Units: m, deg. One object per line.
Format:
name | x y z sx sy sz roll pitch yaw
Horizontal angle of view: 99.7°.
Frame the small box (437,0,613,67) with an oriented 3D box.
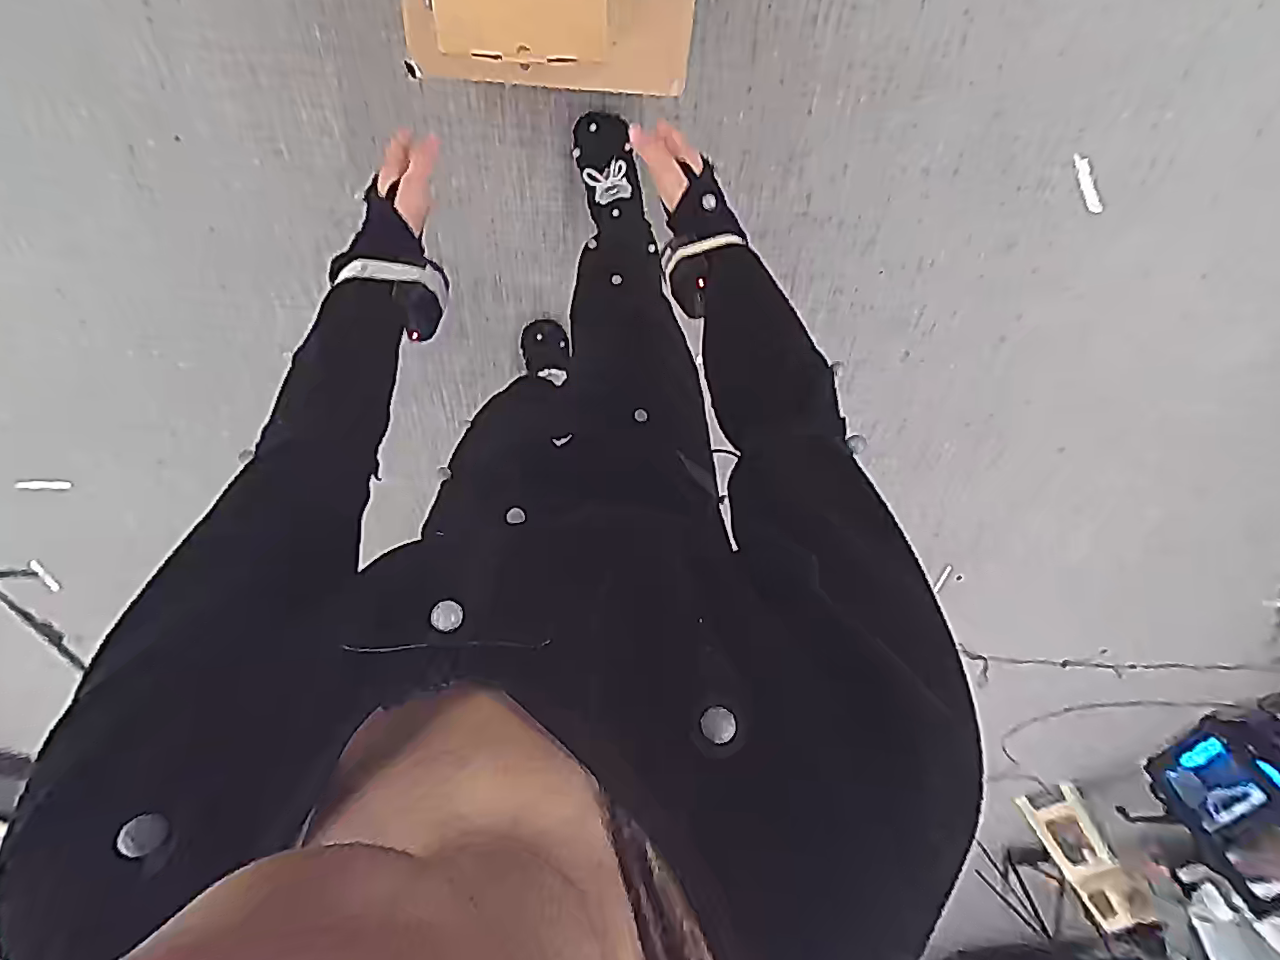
small box | -0.109 -0.530 0.537 0.168 0.176 0.179 0 131 -4
